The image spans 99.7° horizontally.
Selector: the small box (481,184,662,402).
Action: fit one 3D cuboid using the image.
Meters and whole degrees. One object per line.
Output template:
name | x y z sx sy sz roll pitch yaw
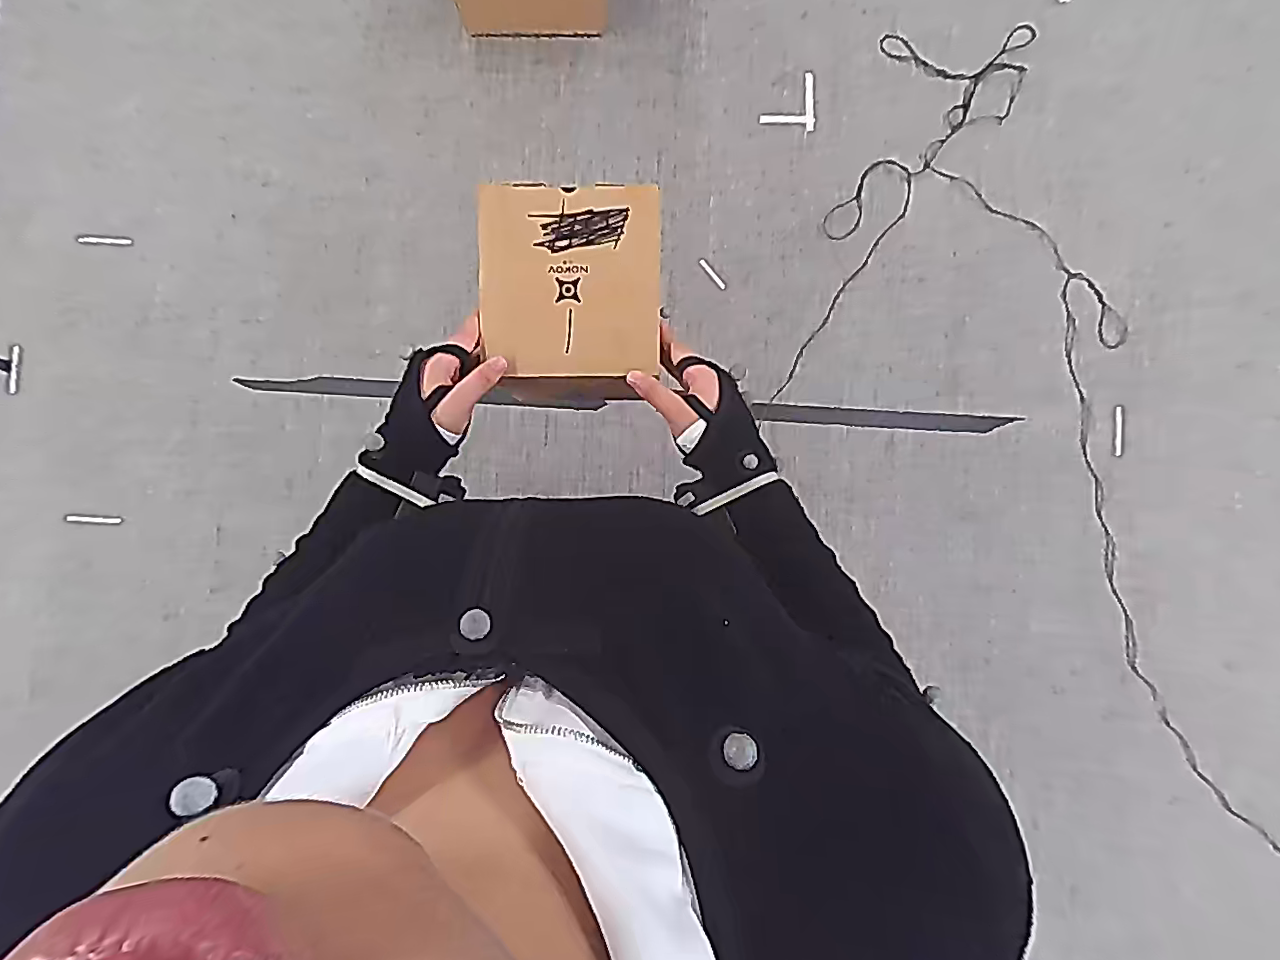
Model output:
small box | -0.065 -0.183 0.575 0.168 0.176 0.179 0 91 -1
